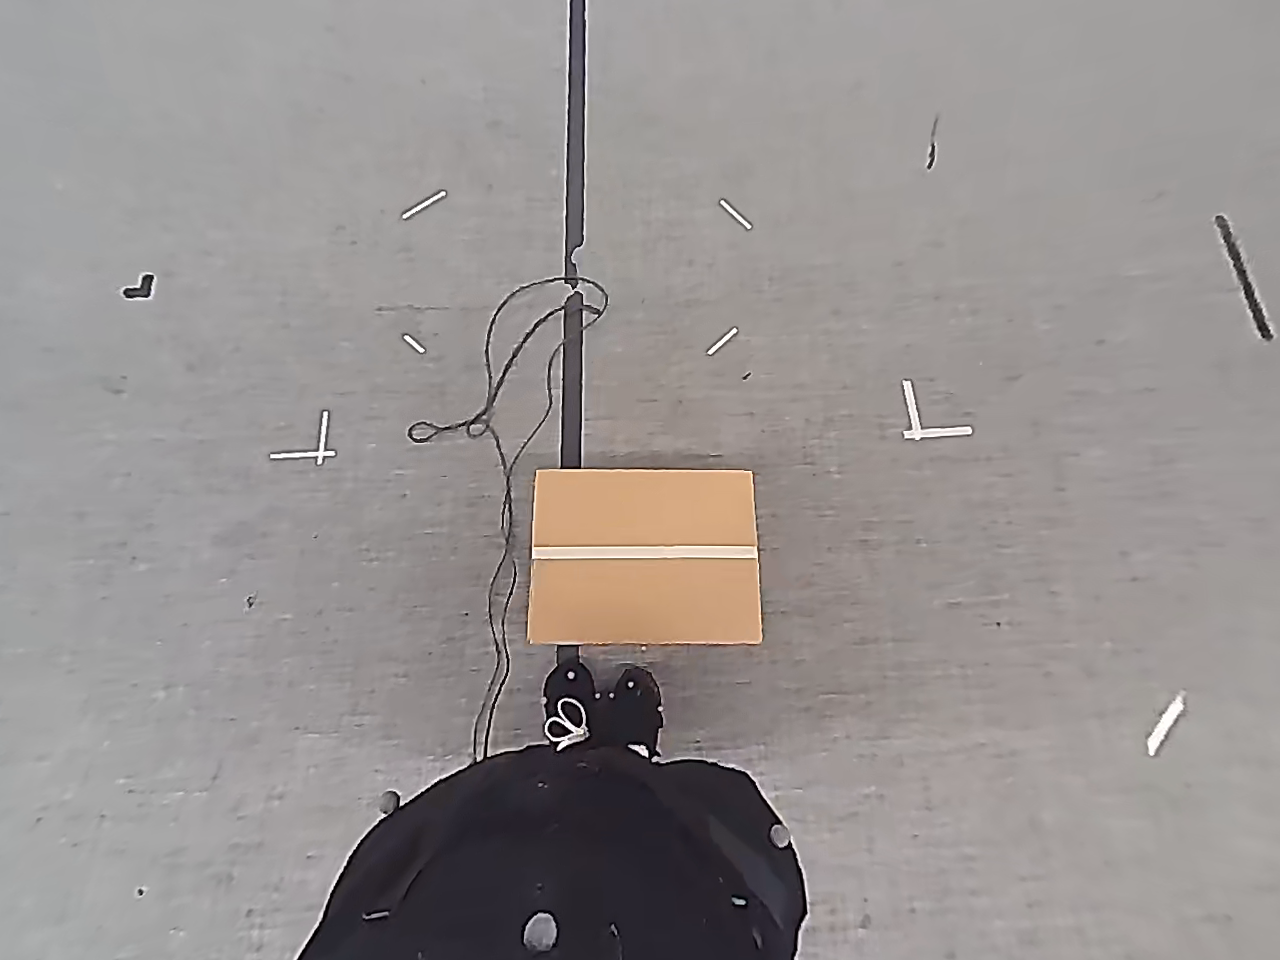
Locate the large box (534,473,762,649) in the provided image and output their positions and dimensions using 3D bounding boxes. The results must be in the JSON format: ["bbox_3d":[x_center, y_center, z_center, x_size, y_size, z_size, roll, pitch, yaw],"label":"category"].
[{"bbox_3d":[0.008,0.176,1.113,0.408,0.320,0.320,0,76,-1],"label":"large box"}]
